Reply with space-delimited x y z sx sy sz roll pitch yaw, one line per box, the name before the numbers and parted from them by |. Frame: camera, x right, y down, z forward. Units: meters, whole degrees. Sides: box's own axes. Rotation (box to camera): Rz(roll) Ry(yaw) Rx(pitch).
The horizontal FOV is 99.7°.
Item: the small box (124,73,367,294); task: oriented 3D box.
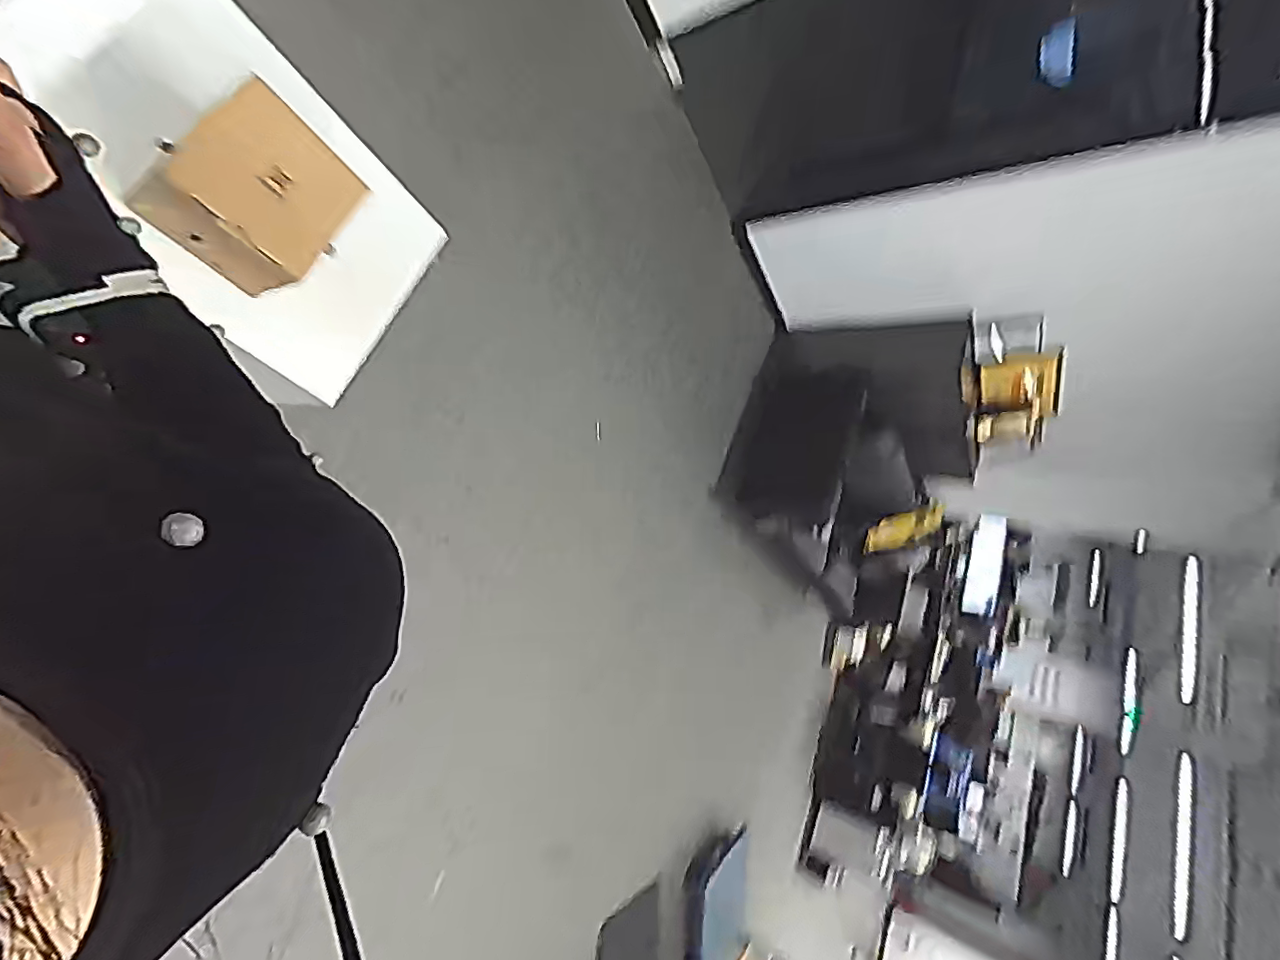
small box | -0.505 -0.367 0.697 0.168 0.176 0.179 46 59 -47
